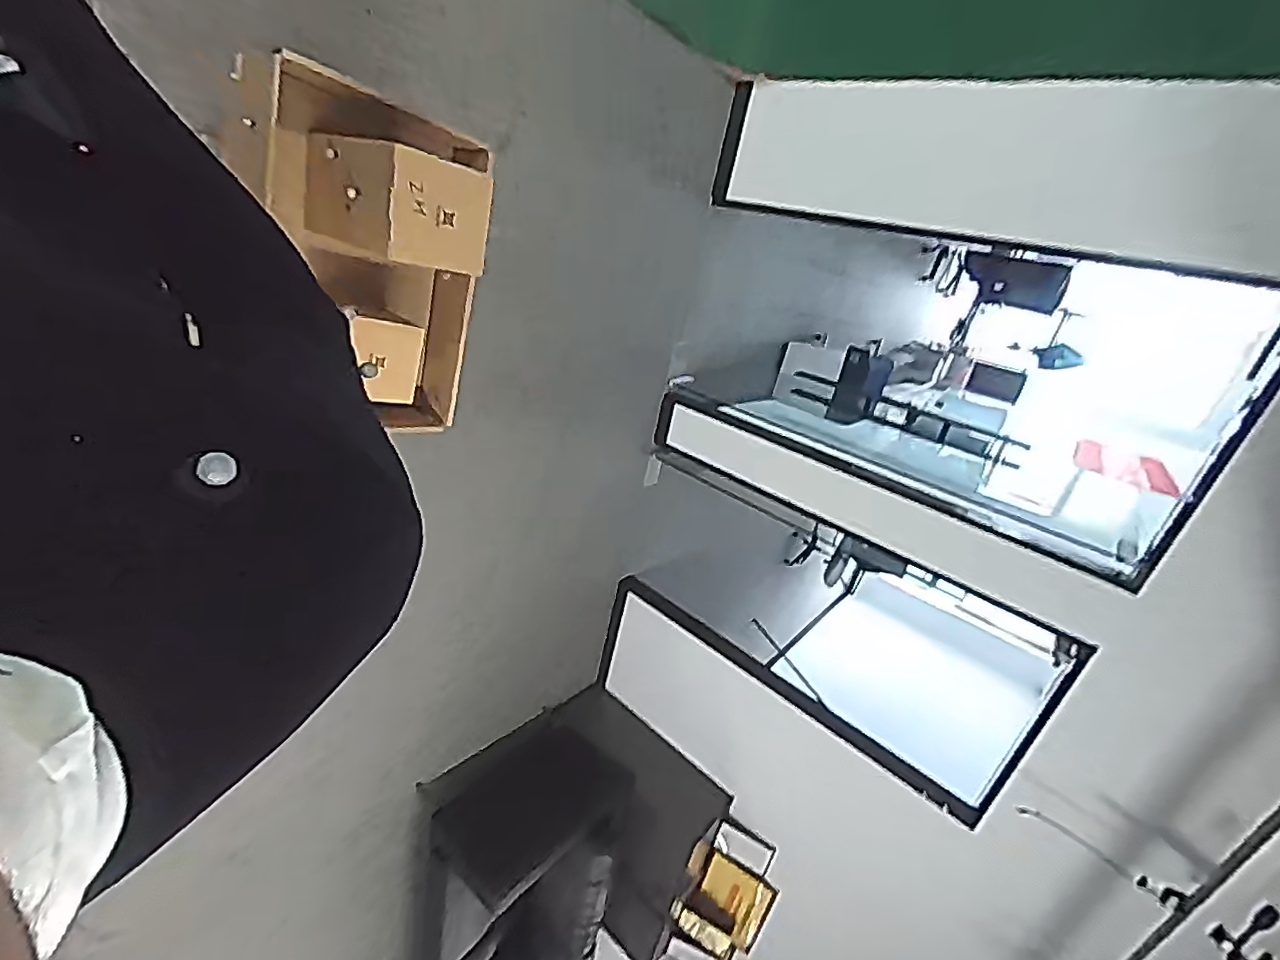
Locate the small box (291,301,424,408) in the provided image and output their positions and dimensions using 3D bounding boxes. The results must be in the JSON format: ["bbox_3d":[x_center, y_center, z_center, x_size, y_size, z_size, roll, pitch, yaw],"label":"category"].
[{"bbox_3d":[-0.578,-0.255,1.106,0.179,0.176,0.168,-5,118,-52],"label":"small box"}]

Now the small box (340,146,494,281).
[{"bbox_3d":[-0.382,-0.453,0.924,0.179,0.176,0.168,-11,121,-50],"label":"small box"}]
